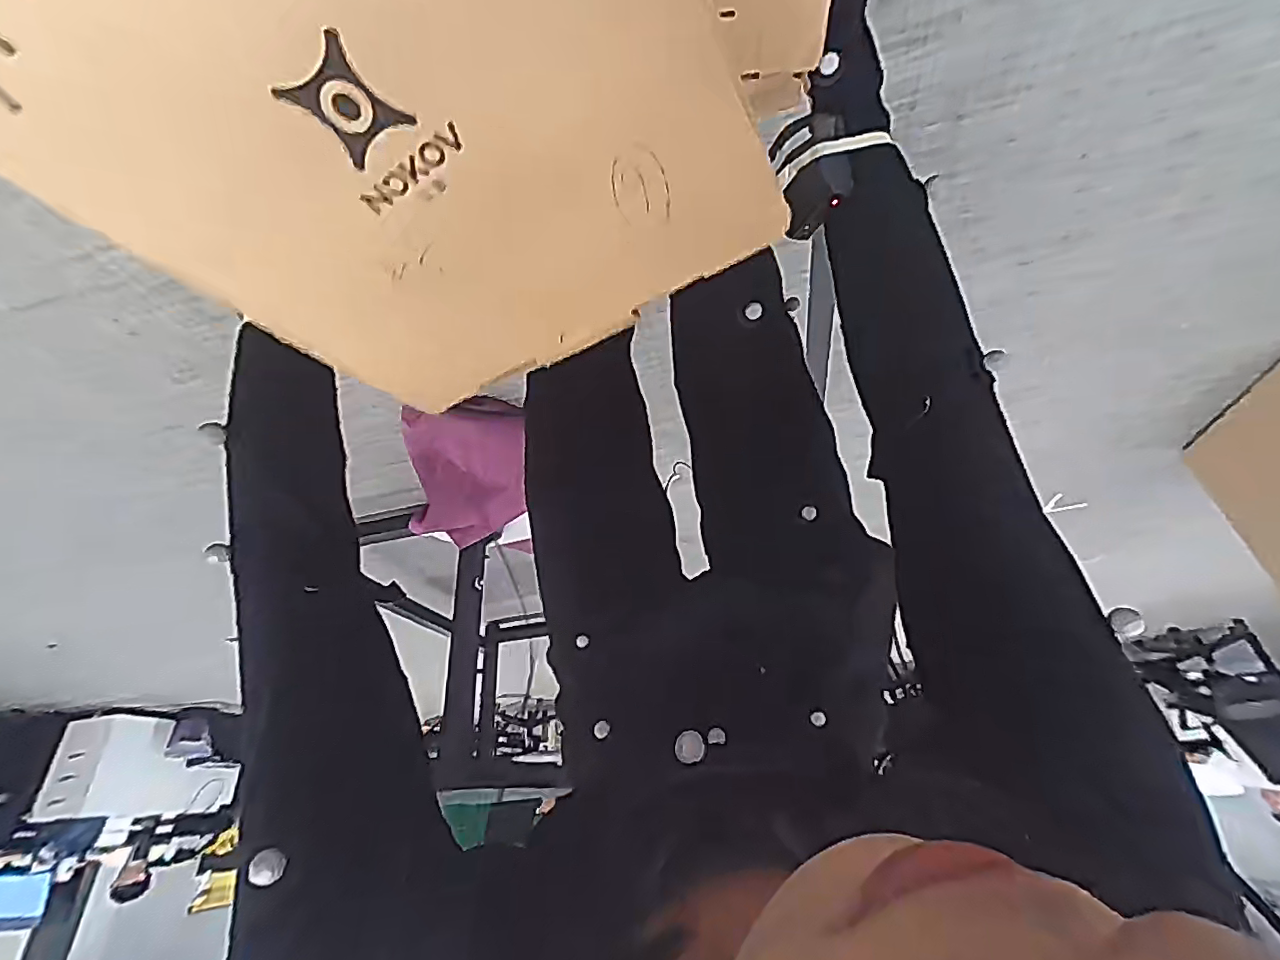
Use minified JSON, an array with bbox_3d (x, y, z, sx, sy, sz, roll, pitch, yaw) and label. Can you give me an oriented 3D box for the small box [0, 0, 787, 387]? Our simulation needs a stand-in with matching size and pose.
[{"bbox_3d":[-0.071,-0.166,0.172,0.168,0.176,0.179,-20,148,24],"label":"small box"}]
